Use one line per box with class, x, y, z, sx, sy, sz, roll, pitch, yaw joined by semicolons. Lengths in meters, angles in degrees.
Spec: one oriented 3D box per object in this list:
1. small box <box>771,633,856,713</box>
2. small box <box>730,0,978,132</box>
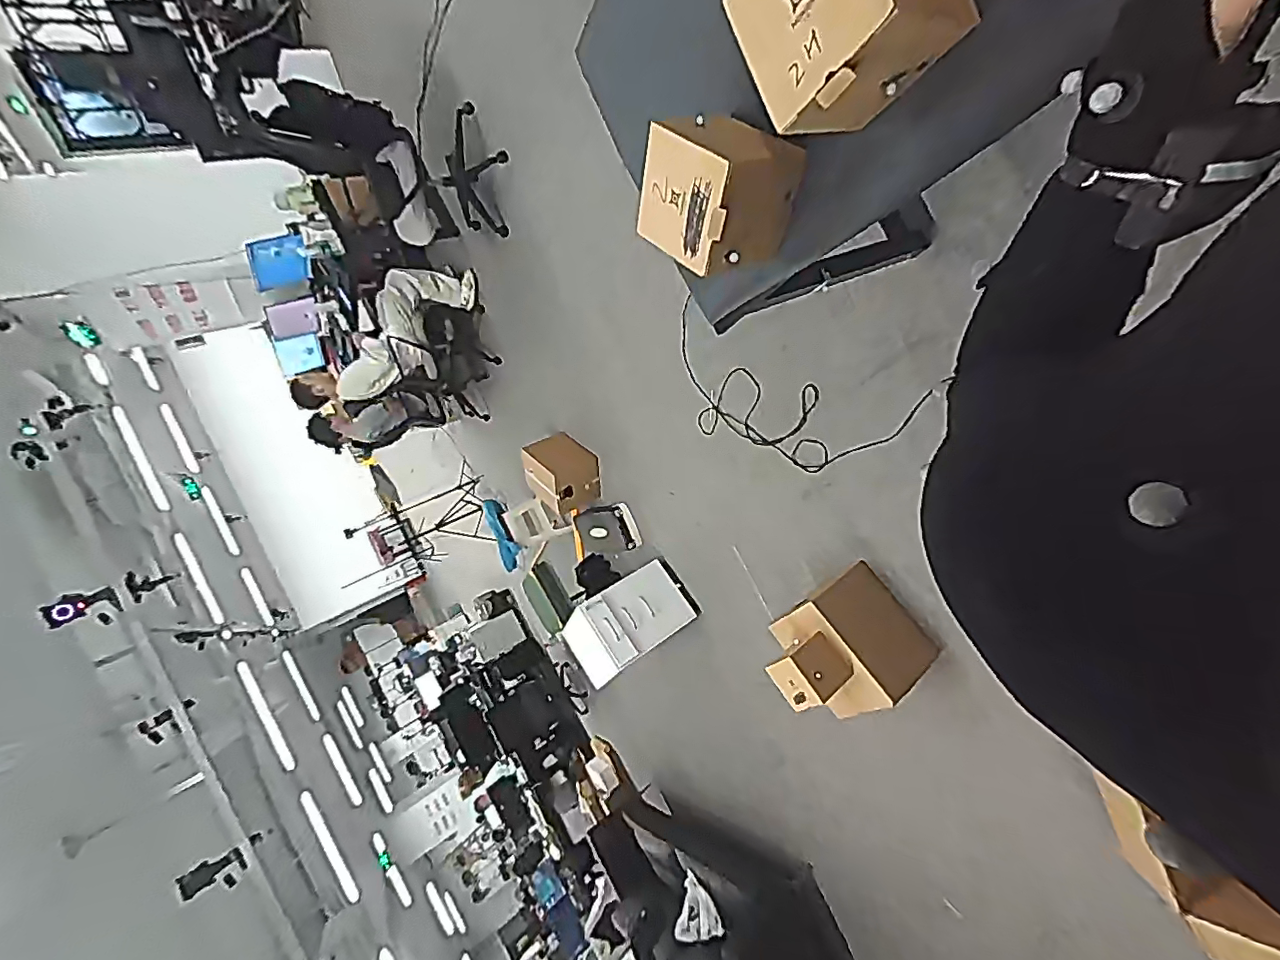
small box;0.590;0.652;1.830;0.179;0.176;0.168;54;147;17
small box;0.242;-0.537;0.620;0.168;0.176;0.179;-22;93;61
